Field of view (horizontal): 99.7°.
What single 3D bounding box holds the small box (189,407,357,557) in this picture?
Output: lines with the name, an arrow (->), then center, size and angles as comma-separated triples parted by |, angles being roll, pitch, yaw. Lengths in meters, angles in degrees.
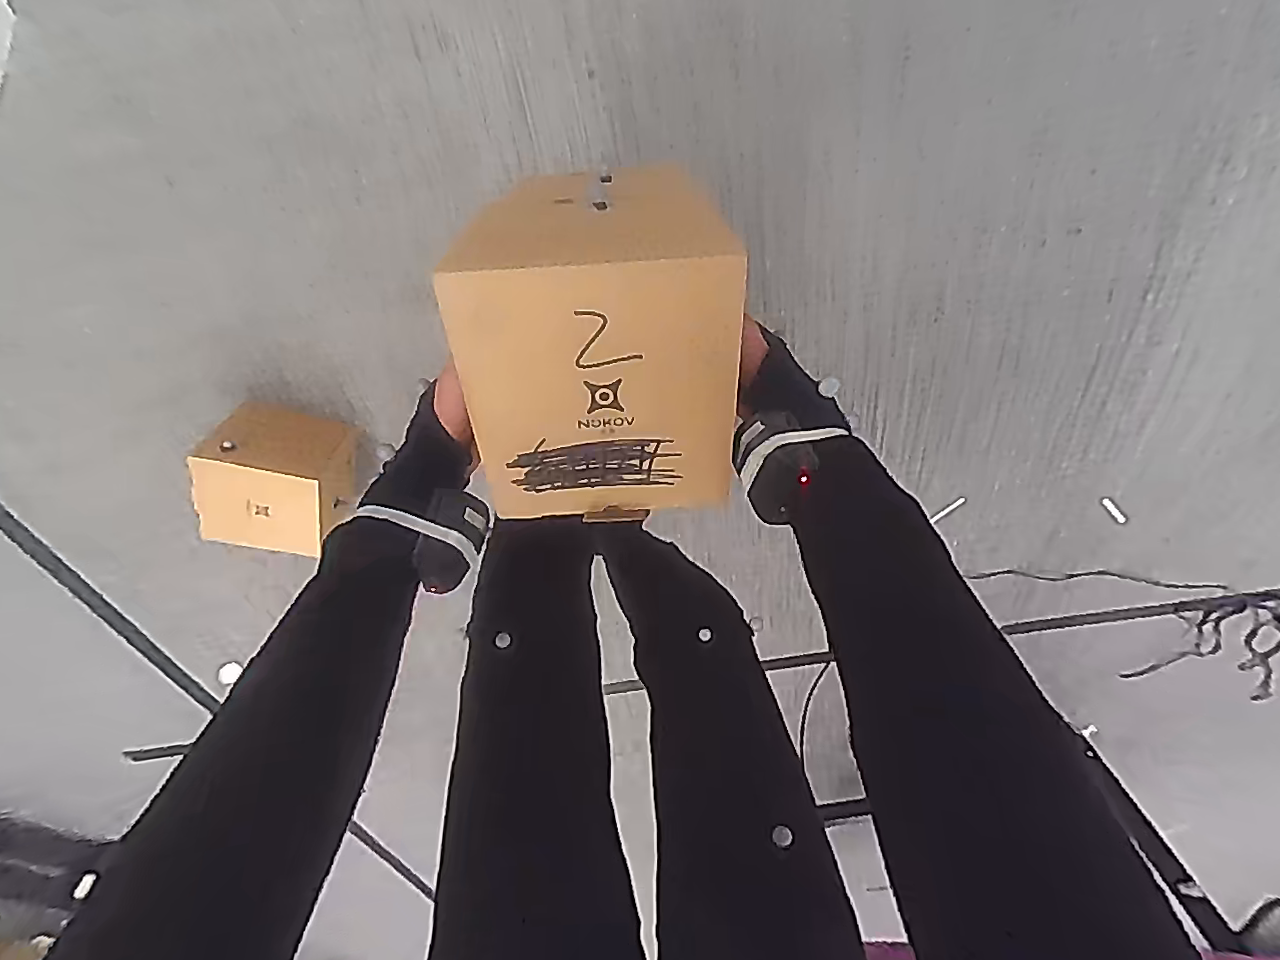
small box -> -0.585, -0.001, 0.890 | 0.179, 0.176, 0.168 | 13, 123, -13
